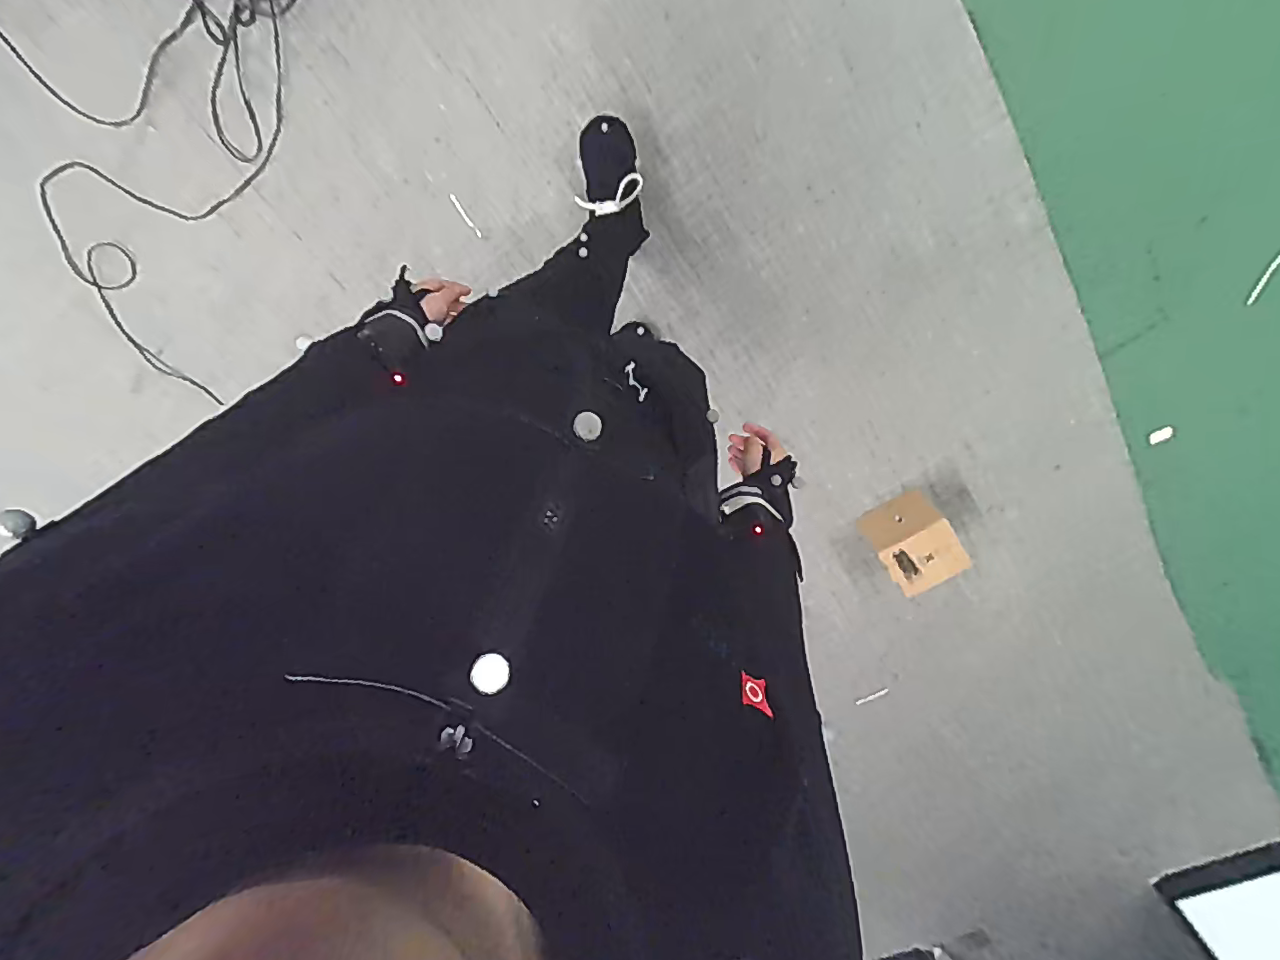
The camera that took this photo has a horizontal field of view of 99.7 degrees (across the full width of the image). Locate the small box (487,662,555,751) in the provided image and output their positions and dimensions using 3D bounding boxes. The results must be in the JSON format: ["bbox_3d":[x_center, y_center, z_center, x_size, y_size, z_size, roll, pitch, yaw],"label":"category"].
[{"bbox_3d":[-0.365,0.701,1.677,0.168,0.176,0.179,11,115,-5],"label":"small box"}]
